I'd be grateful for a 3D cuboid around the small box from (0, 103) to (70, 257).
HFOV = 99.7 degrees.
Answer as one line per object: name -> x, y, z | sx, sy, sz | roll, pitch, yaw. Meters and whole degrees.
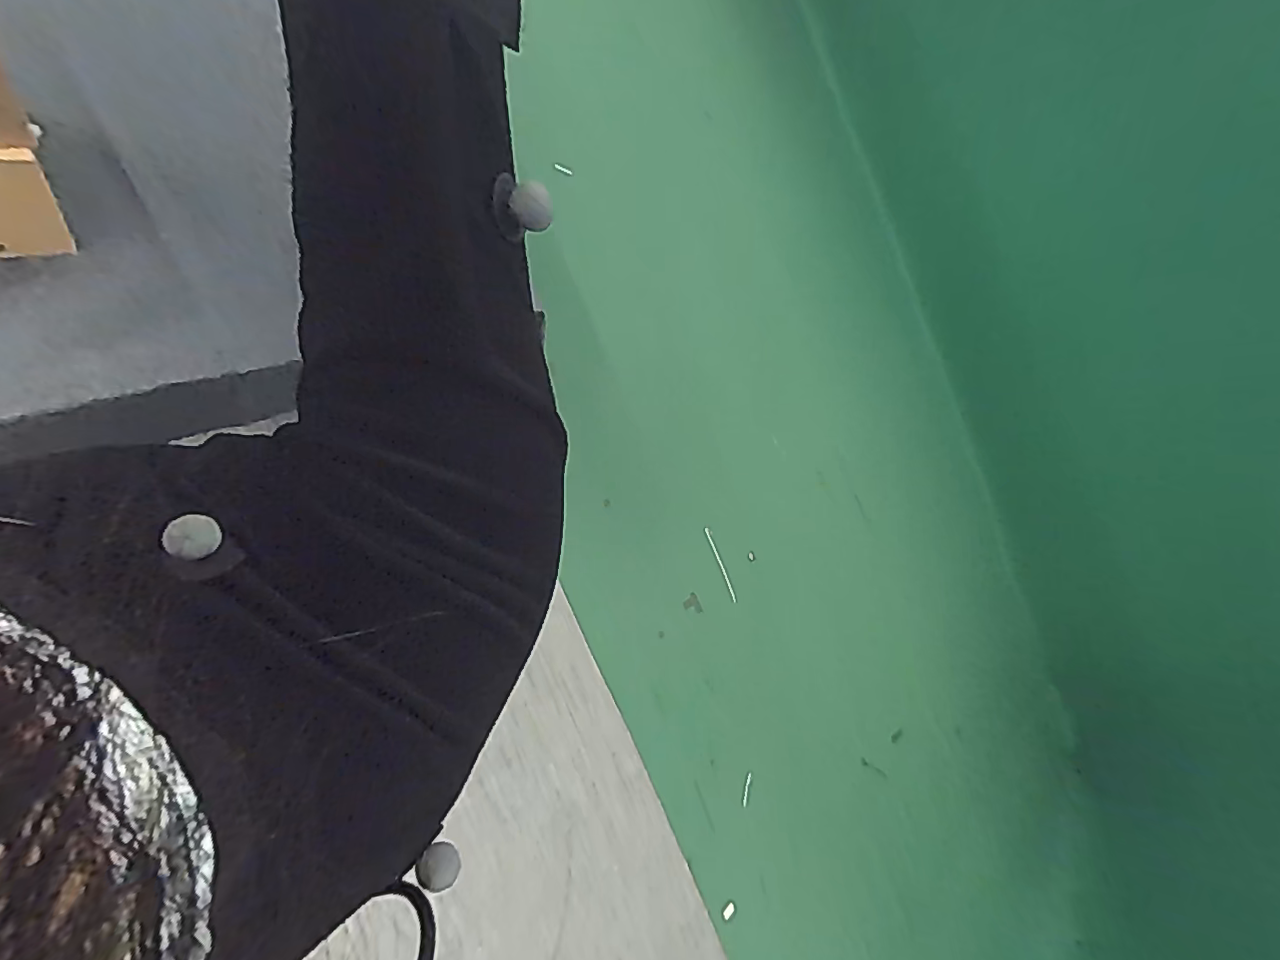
small box -> -0.680, -0.325, 0.491 | 0.168, 0.176, 0.179 | -26, 95, -38
